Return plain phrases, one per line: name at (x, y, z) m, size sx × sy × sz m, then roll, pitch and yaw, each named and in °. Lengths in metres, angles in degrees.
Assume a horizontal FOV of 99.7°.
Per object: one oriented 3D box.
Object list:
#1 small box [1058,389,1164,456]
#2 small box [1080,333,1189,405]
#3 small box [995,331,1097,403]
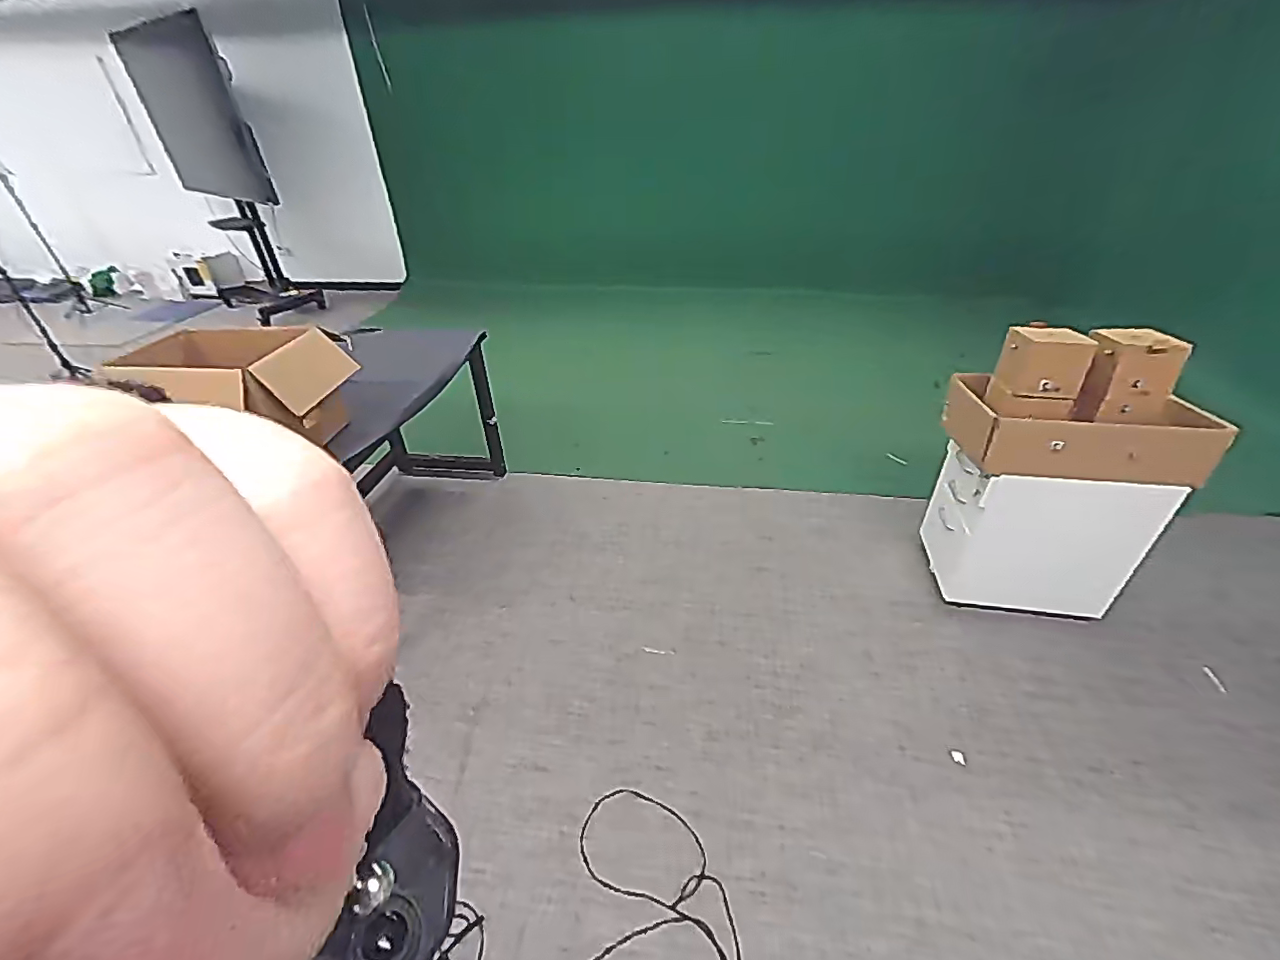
small box at (1.448, -0.187, 1.679) m, size 0.168 × 0.176 × 0.179 m, roll 2°, pitch 28°, yaw 10°
small box at (1.440, -0.331, 1.603) m, size 0.168 × 0.176 × 0.179 m, roll 2°, pitch 30°, yaw 8°
small box at (1.208, -0.344, 1.629) m, size 0.168 × 0.176 × 0.179 m, roll 4°, pitch 30°, yaw 8°
